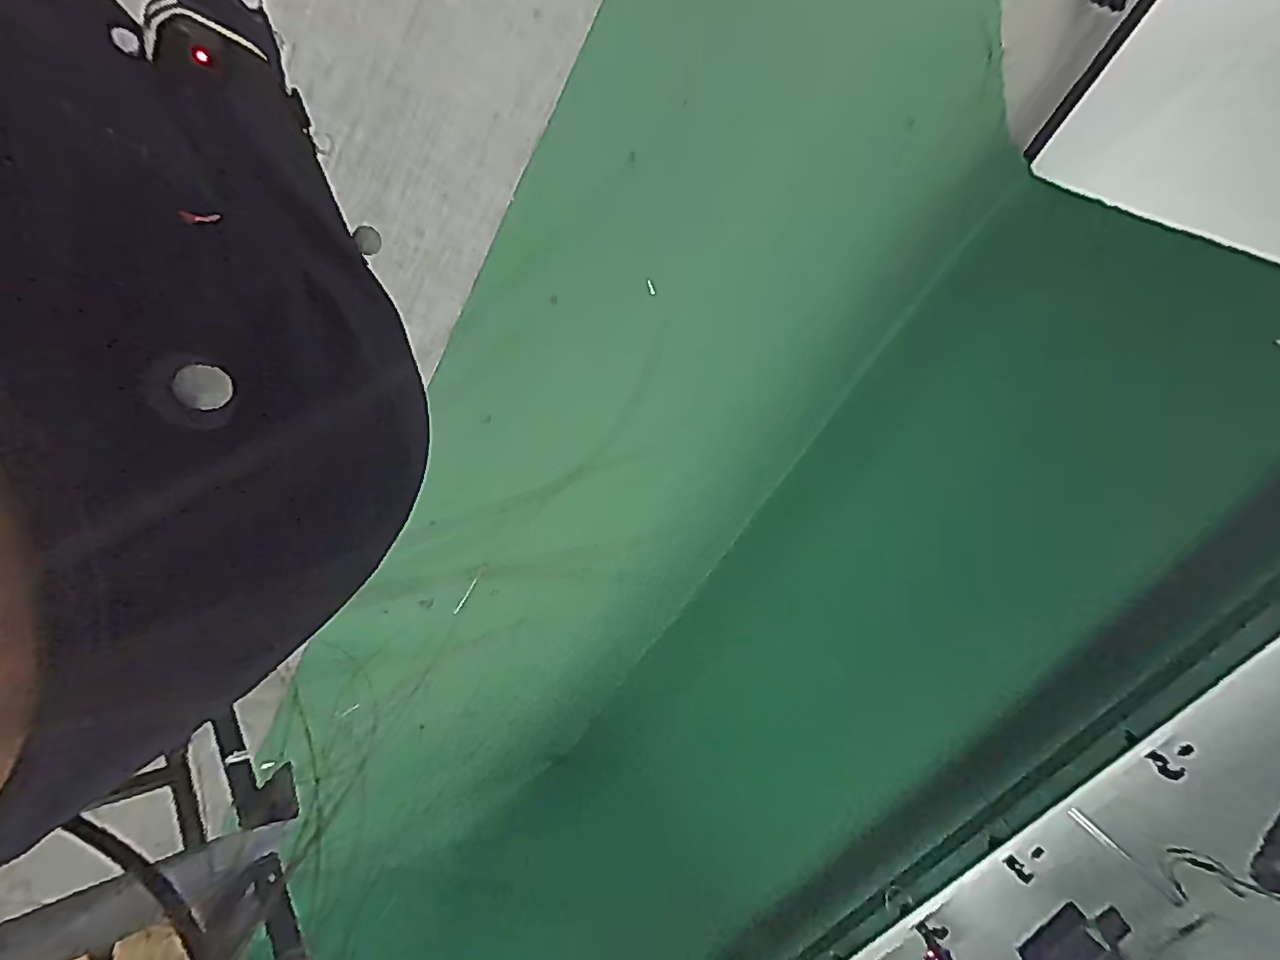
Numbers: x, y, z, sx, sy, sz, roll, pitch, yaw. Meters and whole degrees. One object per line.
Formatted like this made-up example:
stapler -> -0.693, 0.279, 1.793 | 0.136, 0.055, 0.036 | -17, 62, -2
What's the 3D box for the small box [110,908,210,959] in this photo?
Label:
small box -> -1.188, 1.217, 1.334 | 0.168, 0.176, 0.179 | 3, 126, -53
